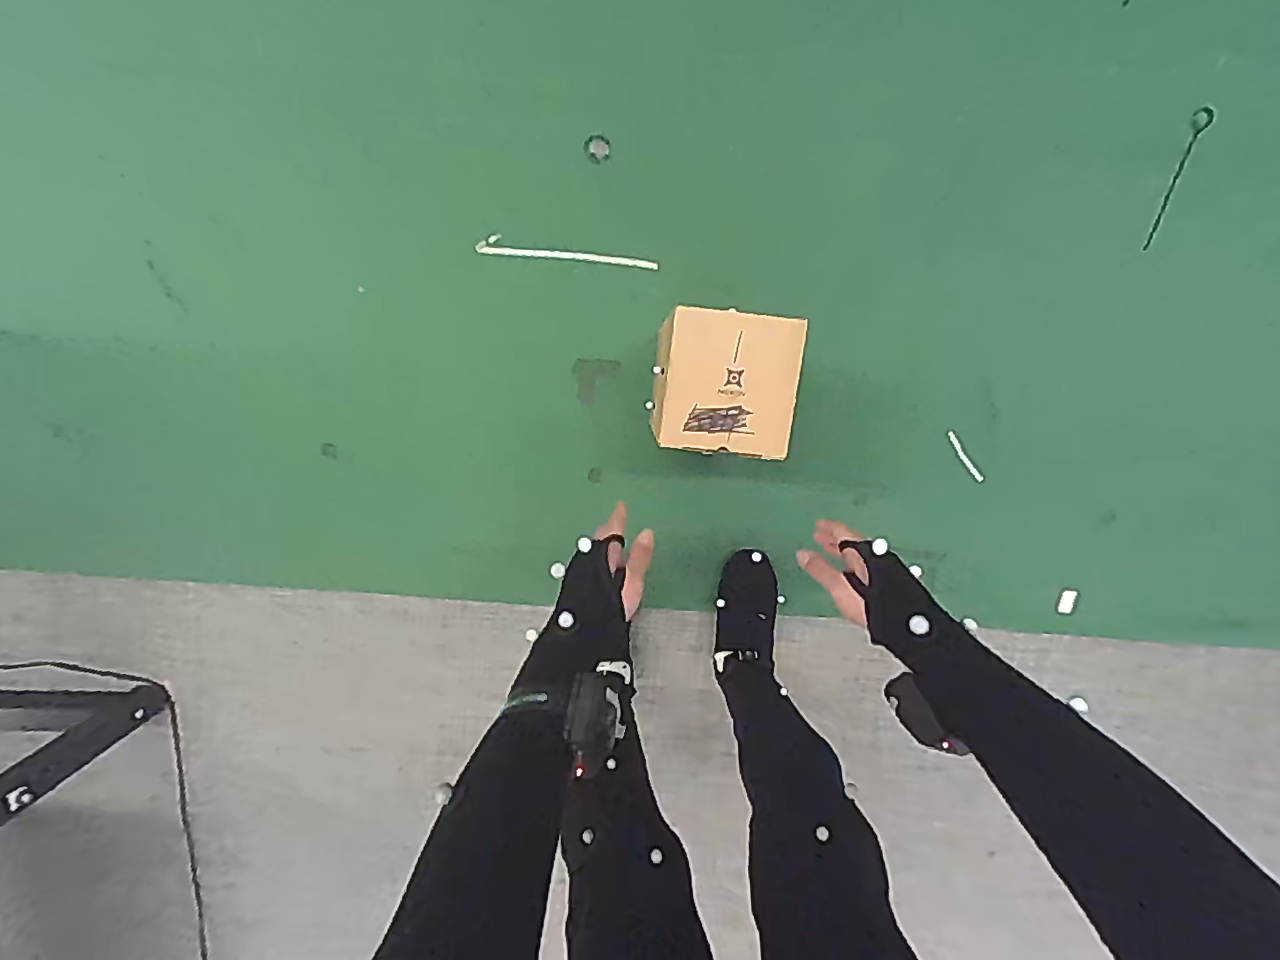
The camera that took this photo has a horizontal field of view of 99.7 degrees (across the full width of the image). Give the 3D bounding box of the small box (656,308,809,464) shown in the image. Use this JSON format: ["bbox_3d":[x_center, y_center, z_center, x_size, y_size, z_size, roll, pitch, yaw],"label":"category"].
[{"bbox_3d":[0.114,-0.129,0.747,0.168,0.176,0.179,6,100,-3],"label":"small box"}]
